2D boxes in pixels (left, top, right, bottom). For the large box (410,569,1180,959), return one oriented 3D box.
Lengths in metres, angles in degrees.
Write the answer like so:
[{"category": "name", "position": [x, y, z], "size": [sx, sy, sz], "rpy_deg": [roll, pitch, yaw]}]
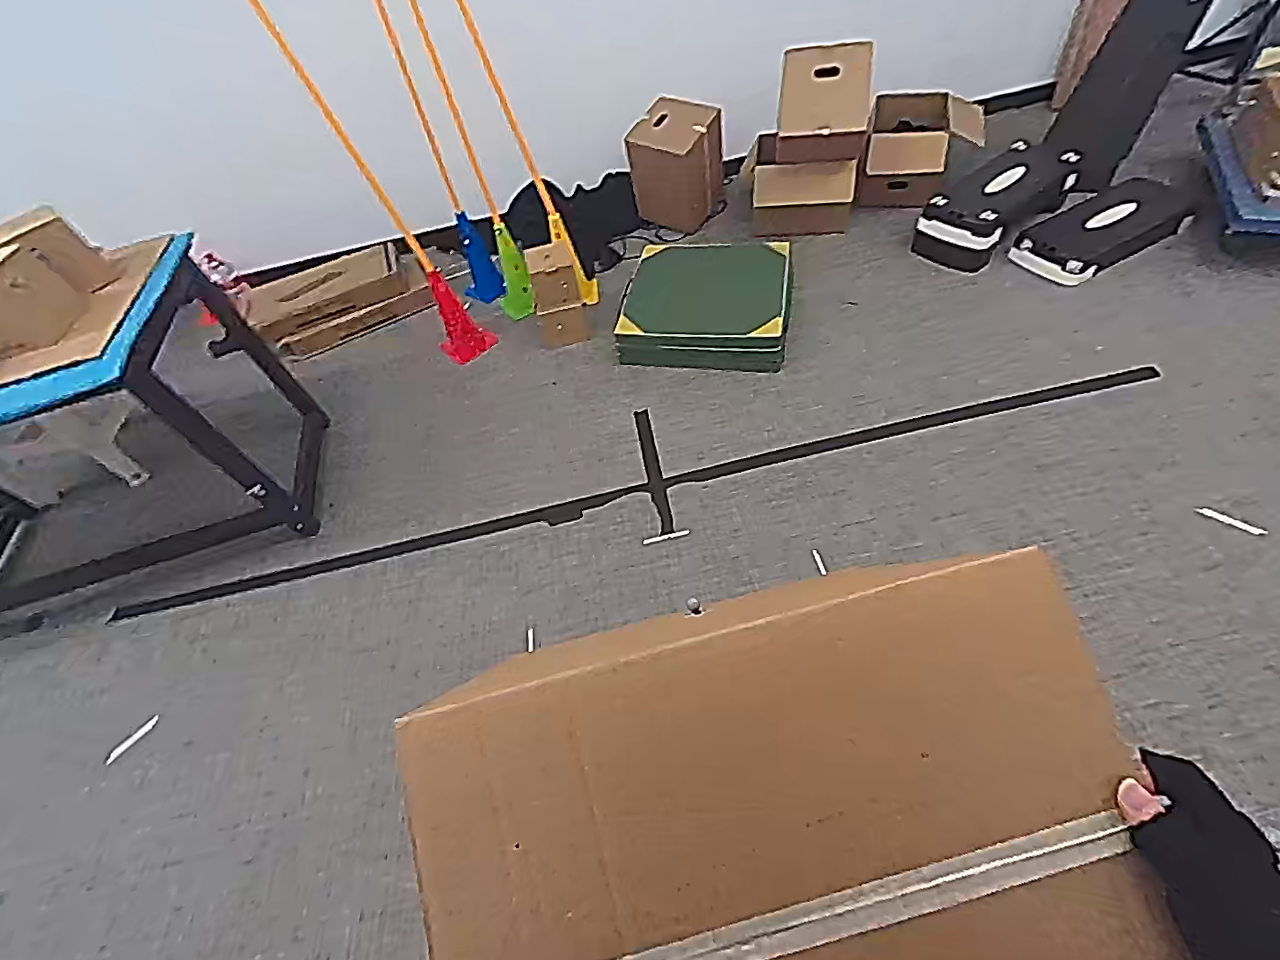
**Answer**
[{"category": "large box", "position": [0.094, 0.280, 0.452], "size": [0.408, 0.320, 0.320], "rpy_deg": [-15, 79, -3]}]
